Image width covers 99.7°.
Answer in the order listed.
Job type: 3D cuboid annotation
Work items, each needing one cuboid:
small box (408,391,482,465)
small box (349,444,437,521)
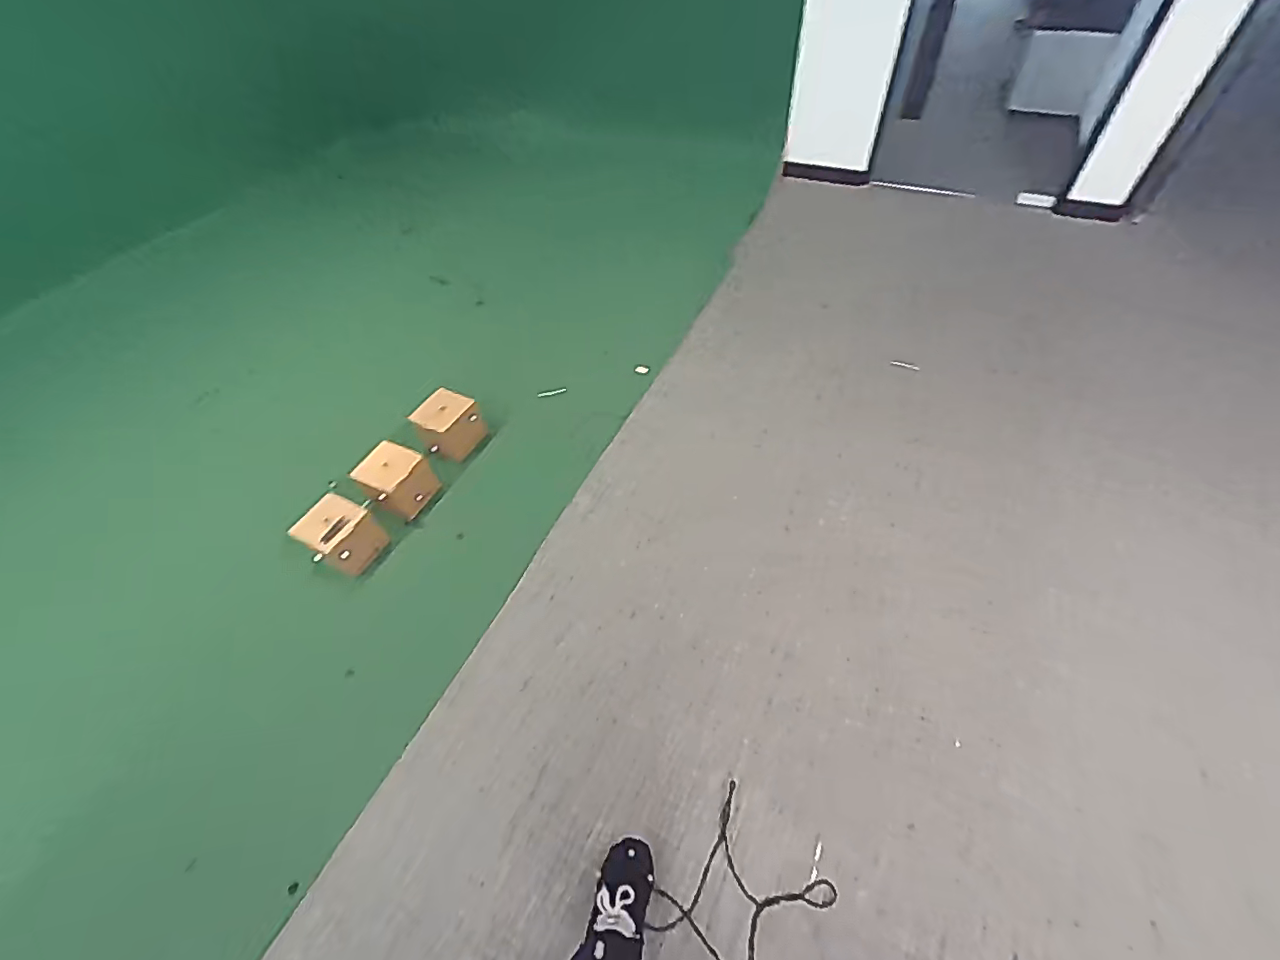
[{"bbox_3d":[-0.694,-0.187,1.956,0.168,0.176,0.179,21,56,19],"label":"small box"},{"bbox_3d":[-0.821,0.011,1.813,0.179,0.176,0.168,20,56,17],"label":"small box"}]
